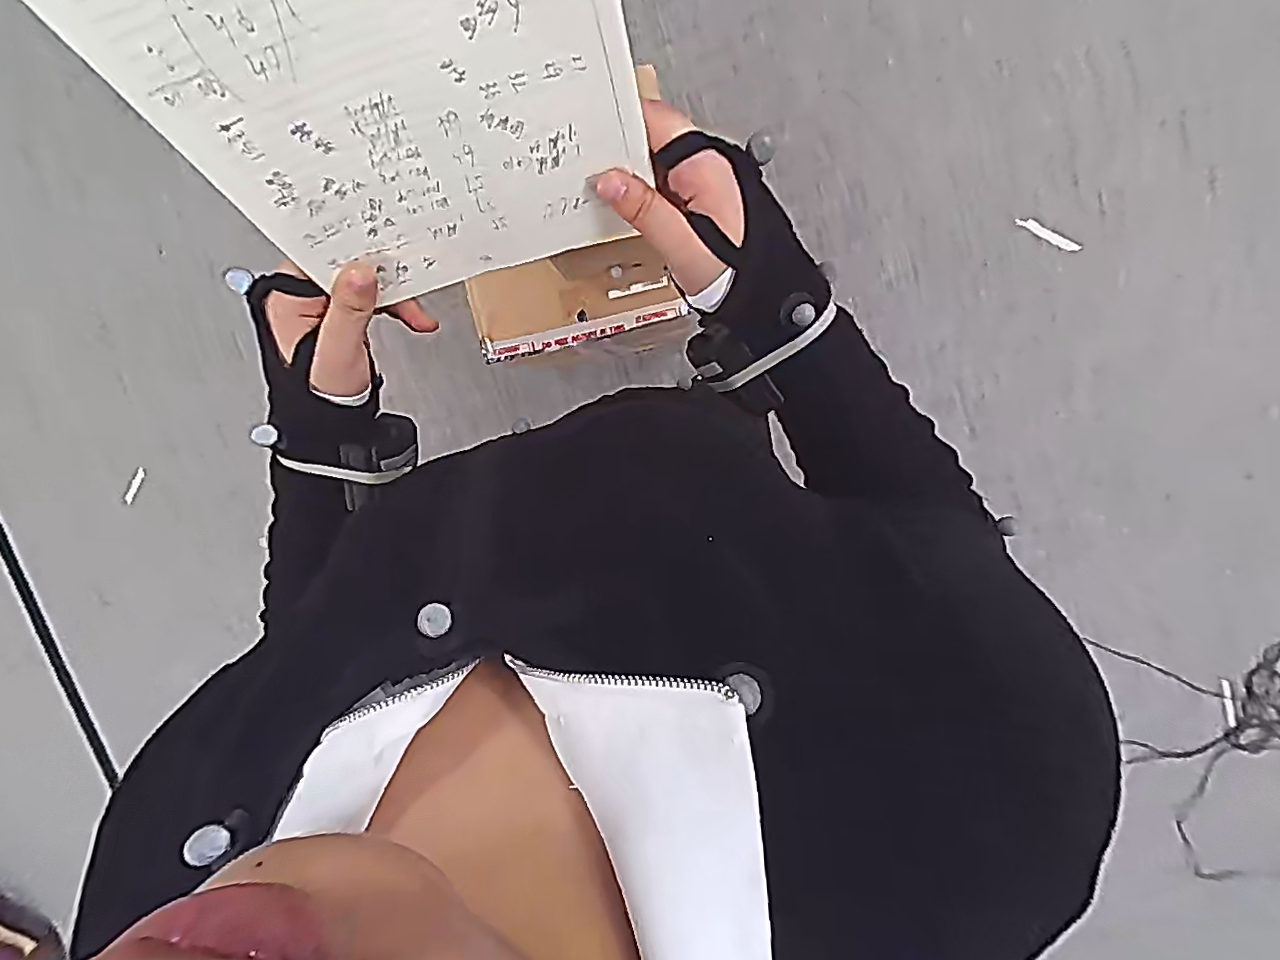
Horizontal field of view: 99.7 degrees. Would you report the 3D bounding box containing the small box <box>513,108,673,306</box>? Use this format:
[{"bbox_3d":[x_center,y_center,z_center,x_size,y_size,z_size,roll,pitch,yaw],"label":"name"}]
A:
[{"bbox_3d":[-0.053,-0.341,0.711,0.168,0.176,0.179,-10,100,4],"label":"small box"}]

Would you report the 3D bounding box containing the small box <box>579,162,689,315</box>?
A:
[{"bbox_3d":[-0.027,-0.375,0.872,0.179,0.176,0.168,-14,98,5],"label":"small box"}]
